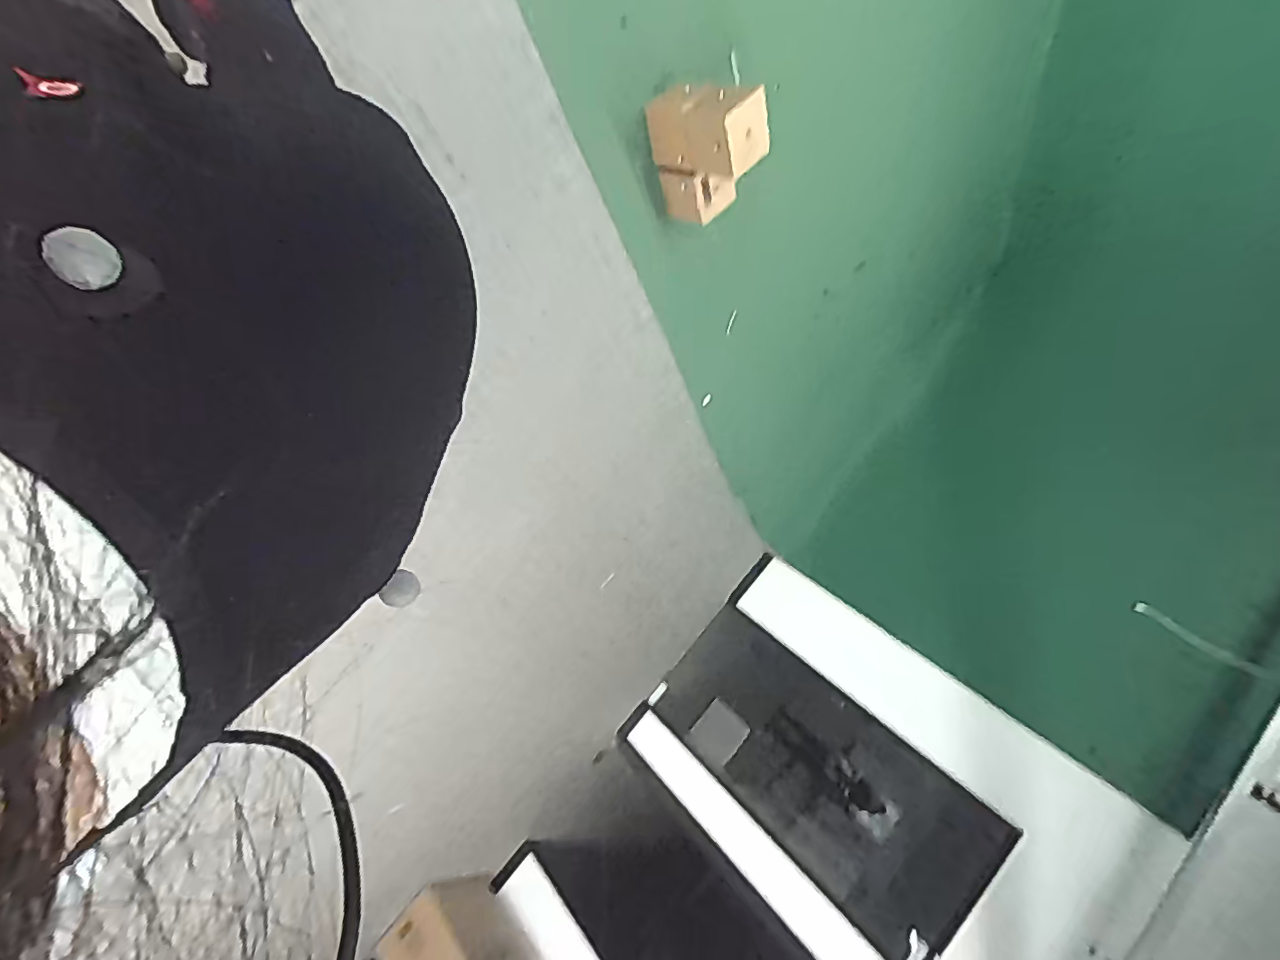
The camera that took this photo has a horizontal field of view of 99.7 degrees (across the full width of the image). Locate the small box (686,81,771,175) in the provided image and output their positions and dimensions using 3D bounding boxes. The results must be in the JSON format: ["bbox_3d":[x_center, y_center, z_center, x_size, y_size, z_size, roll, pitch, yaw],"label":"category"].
[{"bbox_3d":[0.254,-1.021,1.566,0.168,0.176,0.179,-45,144,-12],"label":"small box"}]
